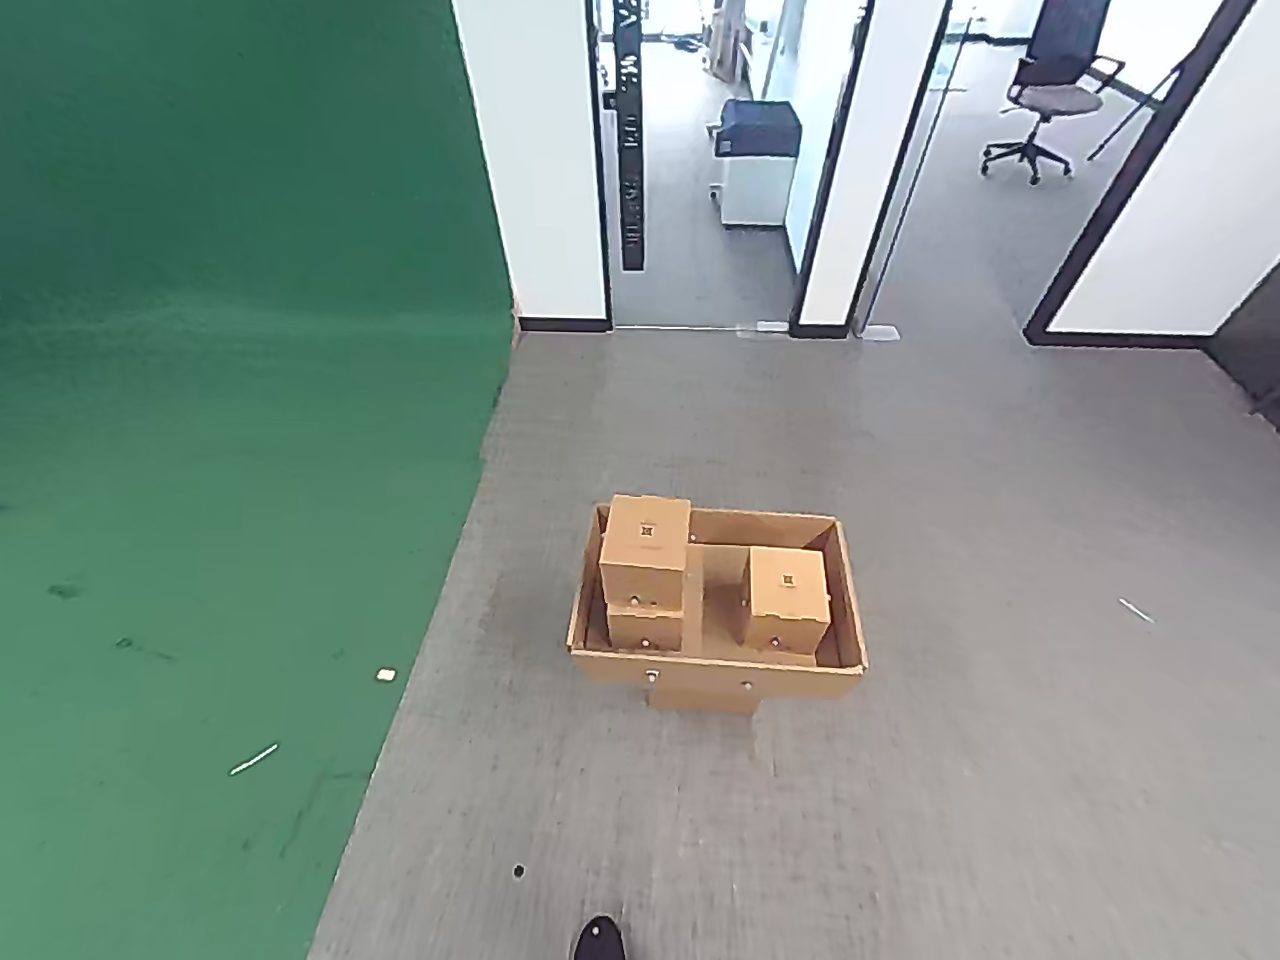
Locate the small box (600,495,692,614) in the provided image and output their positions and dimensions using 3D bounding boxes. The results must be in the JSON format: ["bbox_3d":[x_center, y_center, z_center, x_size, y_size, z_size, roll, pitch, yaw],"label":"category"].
[{"bbox_3d":[0.016,0.156,1.137,0.168,0.176,0.179,5,48,6],"label":"small box"}]
